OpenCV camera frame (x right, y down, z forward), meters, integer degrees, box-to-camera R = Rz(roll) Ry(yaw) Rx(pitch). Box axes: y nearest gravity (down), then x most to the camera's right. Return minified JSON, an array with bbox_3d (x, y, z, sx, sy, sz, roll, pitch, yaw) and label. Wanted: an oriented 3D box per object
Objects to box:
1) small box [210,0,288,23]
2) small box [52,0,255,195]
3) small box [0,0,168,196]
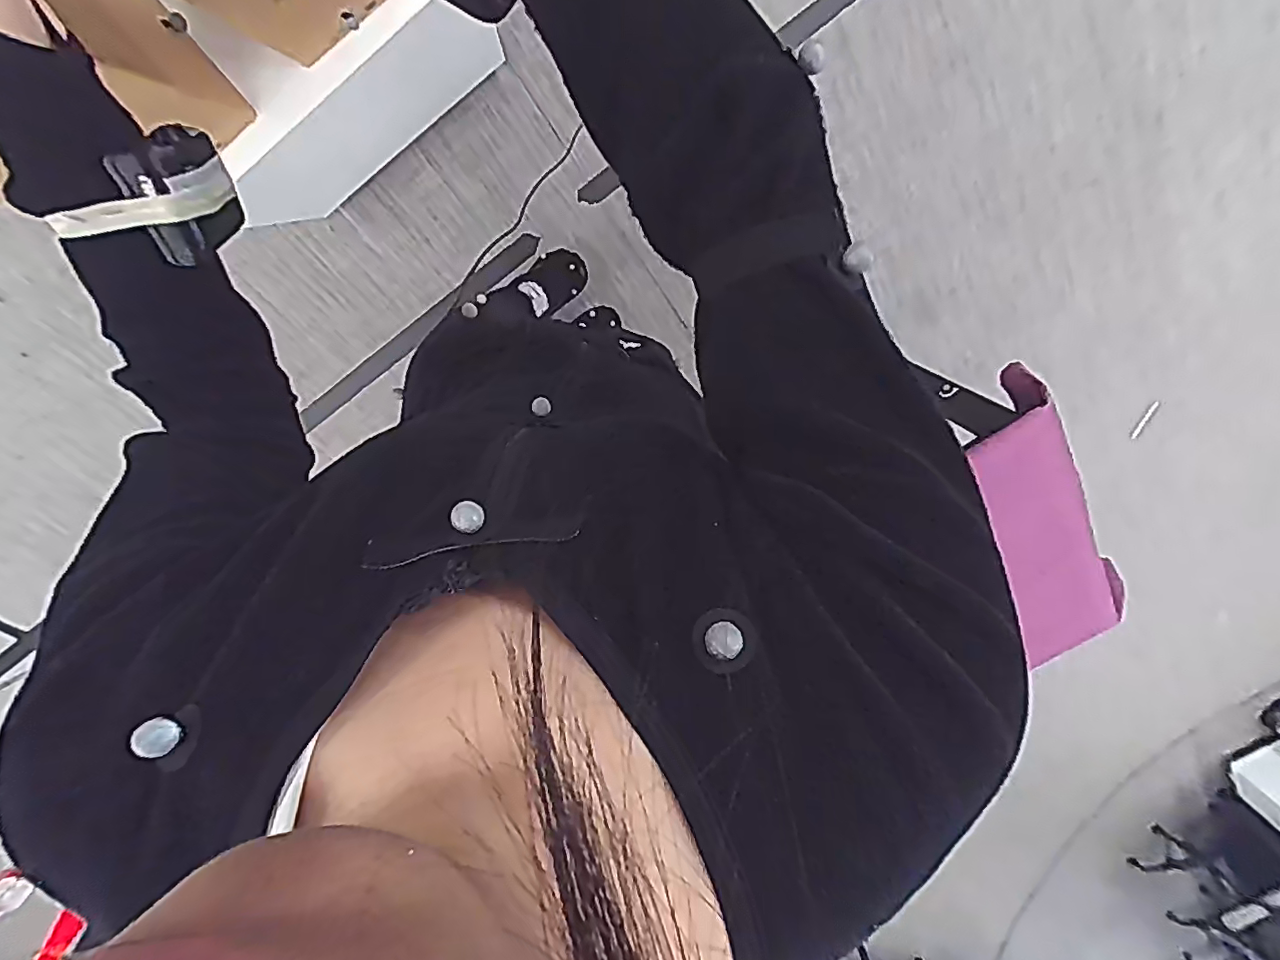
[{"bbox_3d":[-0.318,-0.469,0.366,0.168,0.176,0.179,-32,119,8],"label":"small box"},{"bbox_3d":[-0.551,-0.413,0.544,0.168,0.176,0.179,-34,117,9],"label":"small box"},{"bbox_3d":[-0.525,-0.337,0.402,0.168,0.176,0.179,-35,117,9],"label":"small box"}]
